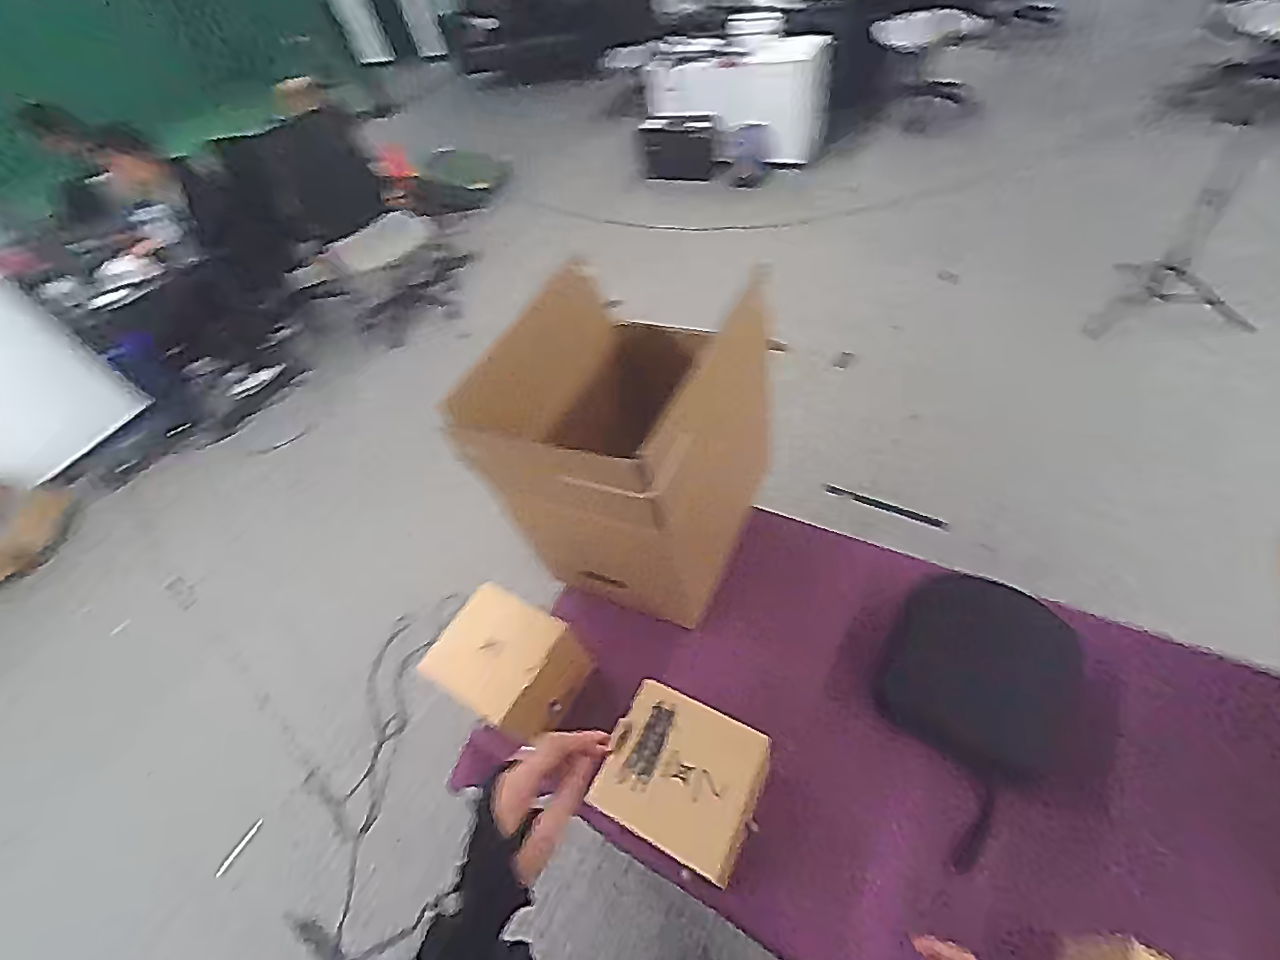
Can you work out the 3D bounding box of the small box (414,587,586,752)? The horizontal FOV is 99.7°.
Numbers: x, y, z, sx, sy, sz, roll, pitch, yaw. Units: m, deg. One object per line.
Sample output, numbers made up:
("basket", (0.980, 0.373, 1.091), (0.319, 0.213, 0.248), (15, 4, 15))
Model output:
("small box", (-0.214, 0.308, 0.871), (0.179, 0.176, 0.168), (19, 58, 26))
